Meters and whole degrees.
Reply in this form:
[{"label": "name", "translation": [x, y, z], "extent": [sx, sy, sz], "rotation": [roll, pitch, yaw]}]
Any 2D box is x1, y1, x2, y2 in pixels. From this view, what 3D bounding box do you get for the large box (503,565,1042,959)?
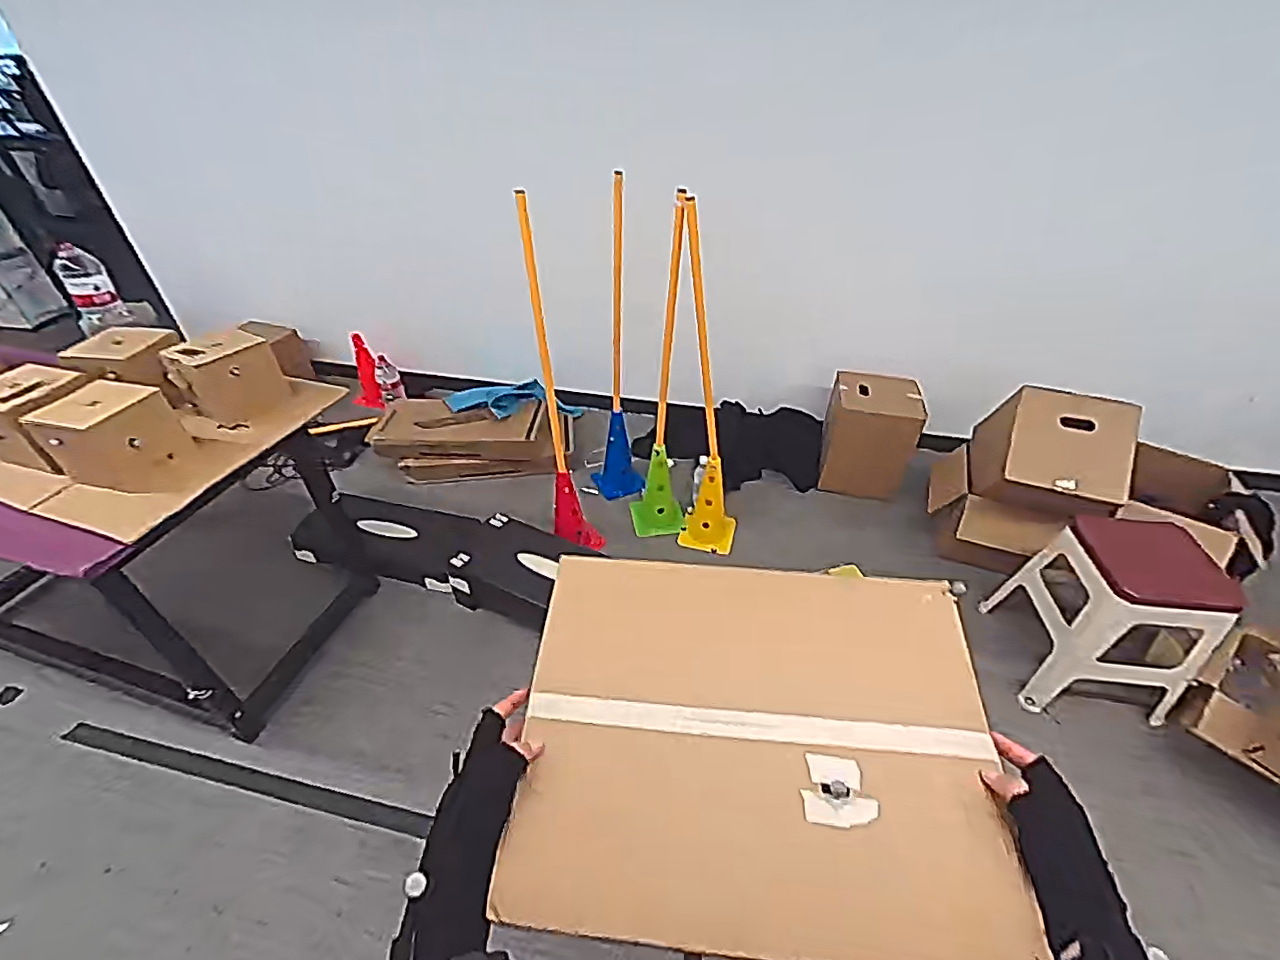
[{"label": "large box", "translation": [0.107, 0.314, 0.603], "extent": [0.408, 0.320, 0.320], "rotation": [3, 53, 5]}]
